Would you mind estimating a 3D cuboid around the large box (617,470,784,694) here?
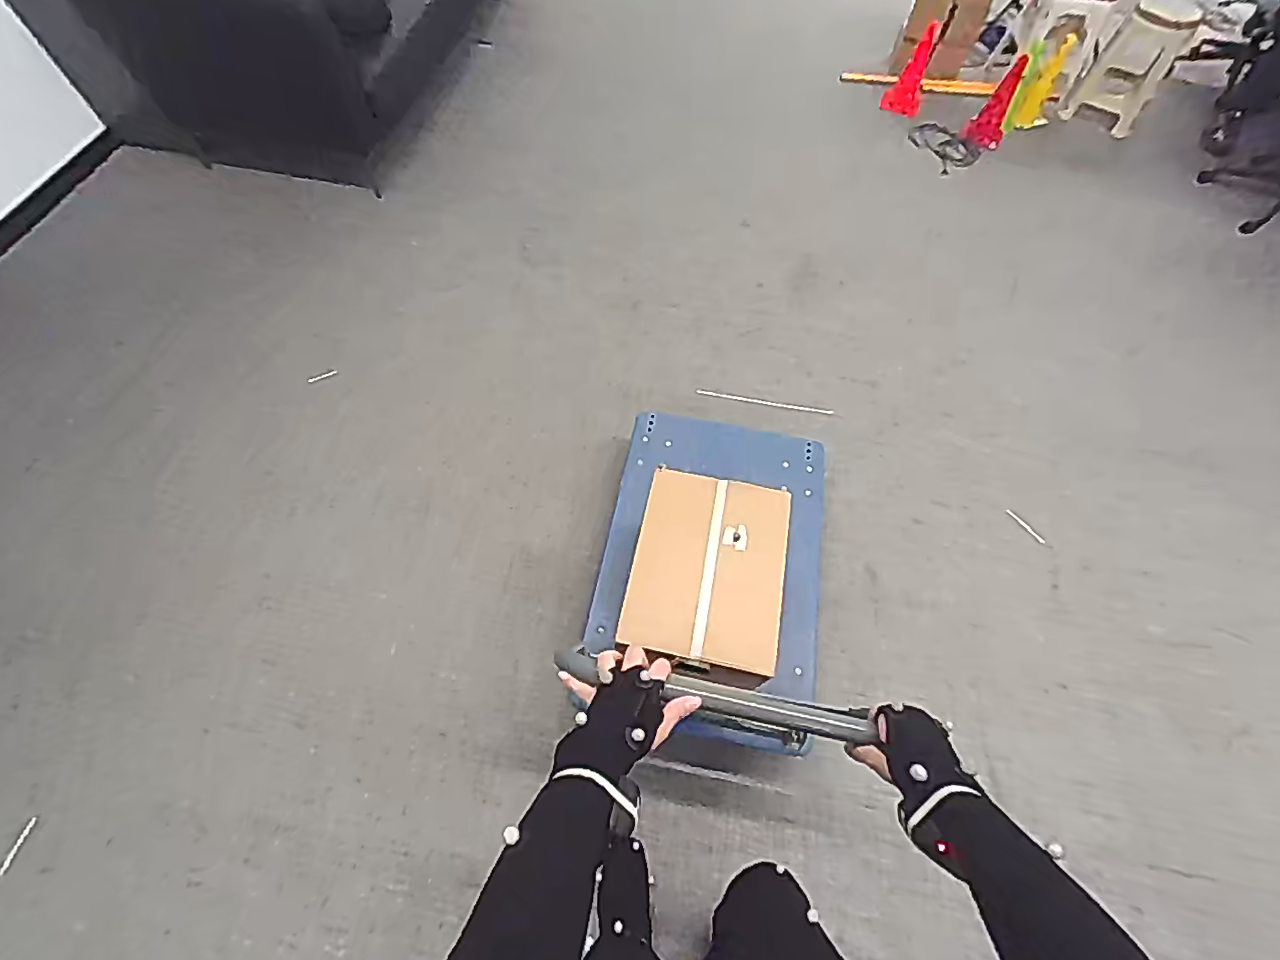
[{"bbox_3d":[0.137,0.245,1.264,0.320,0.320,0.408,11,60,4],"label":"large box"}]
